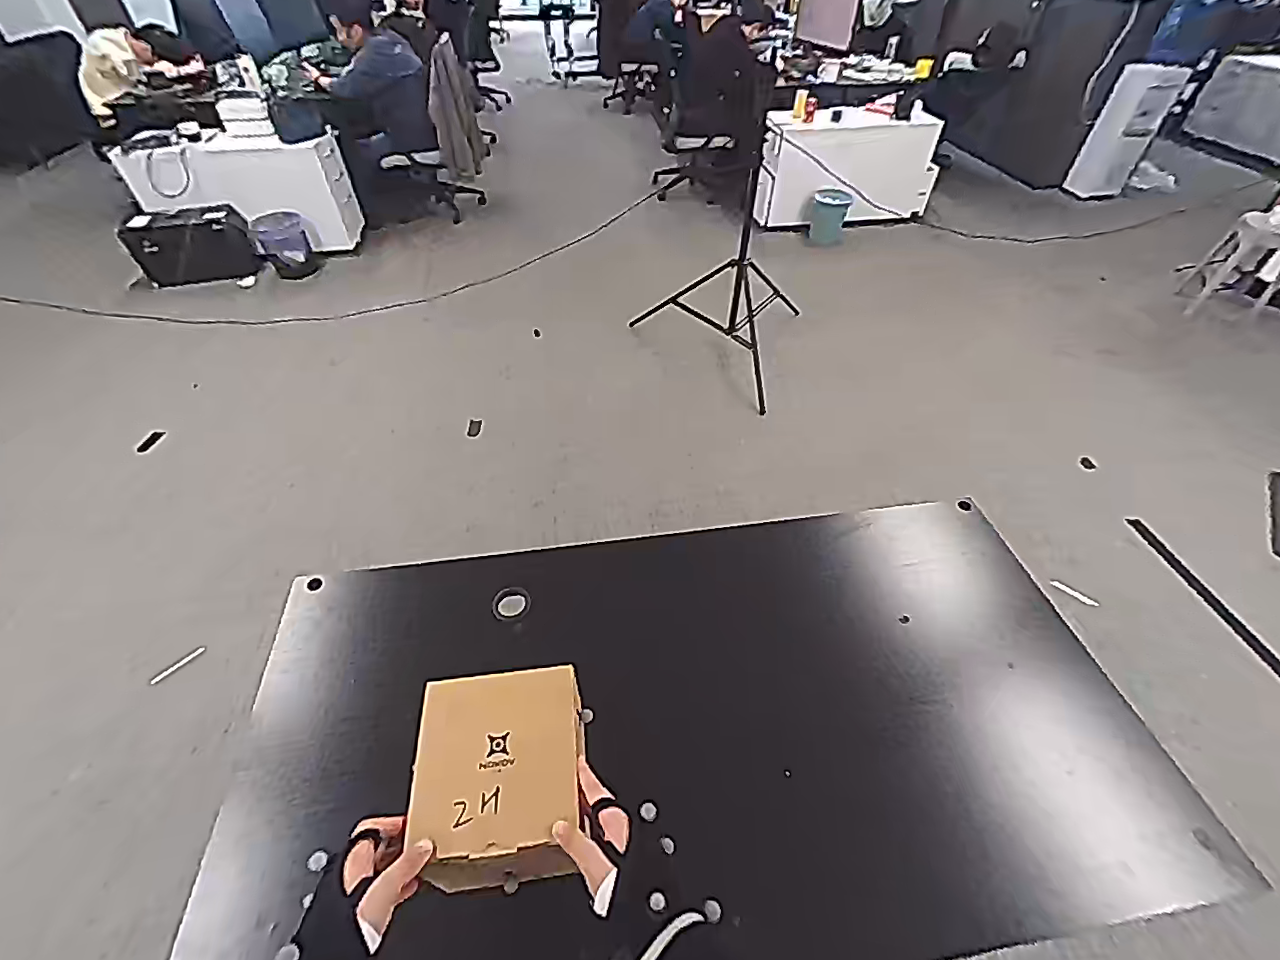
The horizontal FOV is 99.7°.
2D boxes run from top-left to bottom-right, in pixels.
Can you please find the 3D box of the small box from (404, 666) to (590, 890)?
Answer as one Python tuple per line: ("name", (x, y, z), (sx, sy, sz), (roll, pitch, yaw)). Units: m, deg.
("small box", (-0.147, 0.339, 0.617), (0.168, 0.176, 0.179), (-6, 47, -5))
